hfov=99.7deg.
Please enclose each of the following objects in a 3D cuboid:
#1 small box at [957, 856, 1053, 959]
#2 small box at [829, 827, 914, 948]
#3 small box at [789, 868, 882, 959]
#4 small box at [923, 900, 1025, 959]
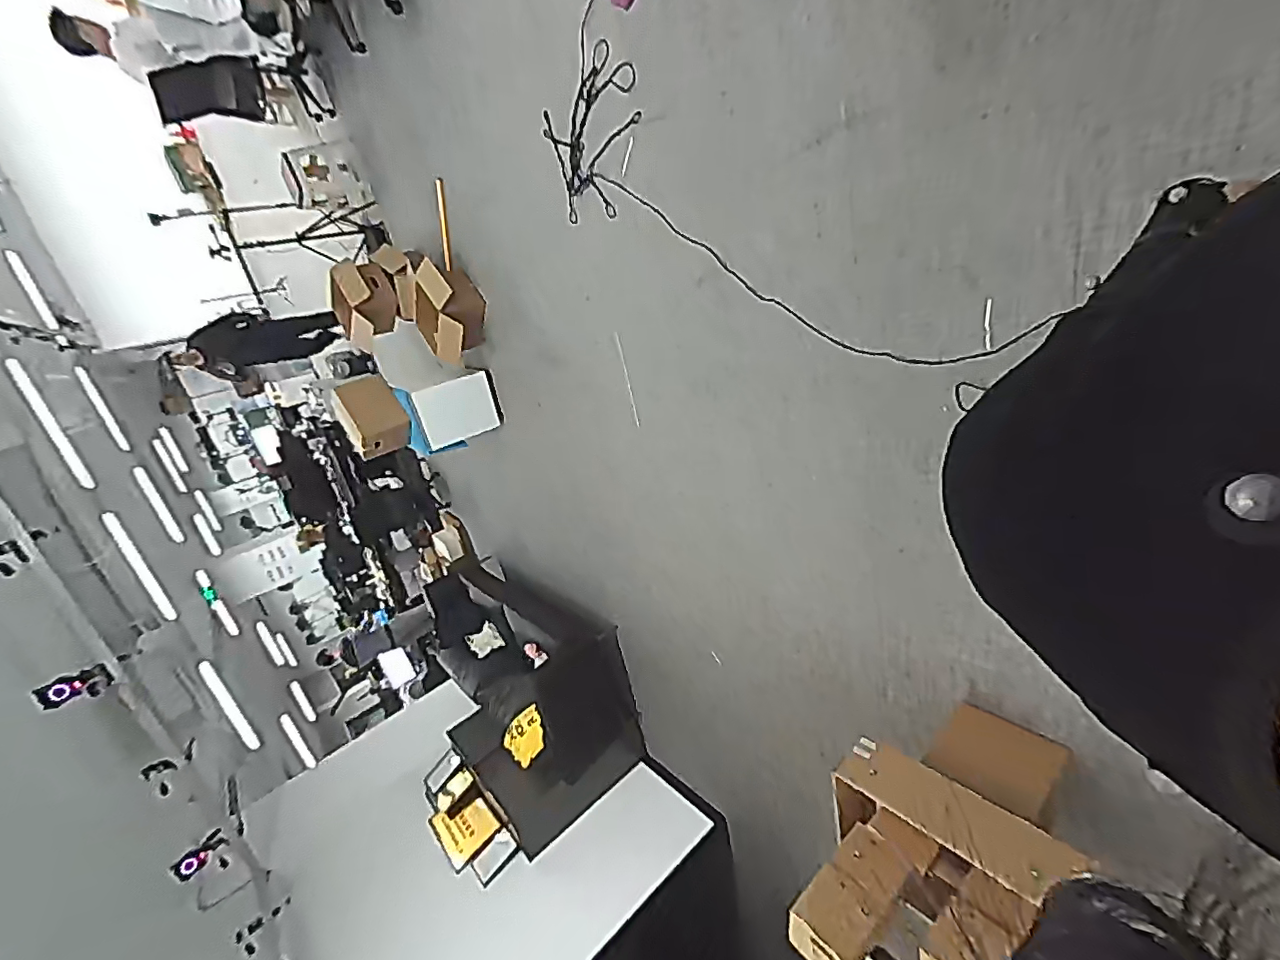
[{"bbox_3d":[0.942,1.138,1.396,0.168,0.176,0.179,10,120,51],"label":"small box"},{"bbox_3d":[0.641,1.124,1.507,0.168,0.176,0.179,22,129,46],"label":"small box"},{"bbox_3d":[0.514,1.181,1.421,0.168,0.176,0.179,26,132,45],"label":"small box"},{"bbox_3d":[0.810,1.185,1.309,0.168,0.176,0.179,11,121,52],"label":"small box"}]
